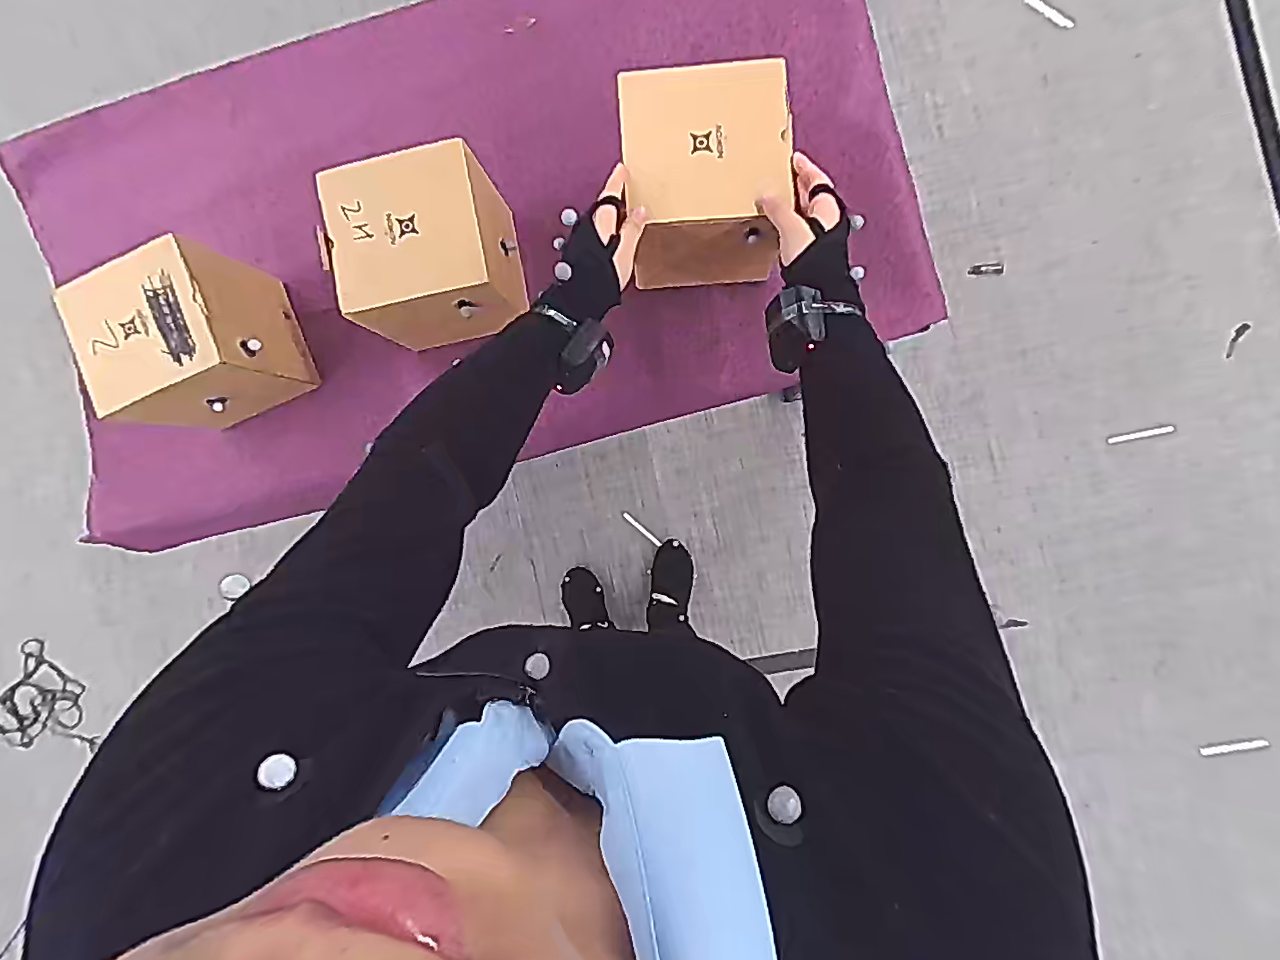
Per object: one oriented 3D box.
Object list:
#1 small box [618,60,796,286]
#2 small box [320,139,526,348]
[{"bbox_3d":[0.073,-0.343,0.637,0.179,0.176,0.168,-4,88,2],"label":"small box"},{"bbox_3d":[-0.252,-0.278,0.675,0.179,0.176,0.168,-11,88,5],"label":"small box"}]
